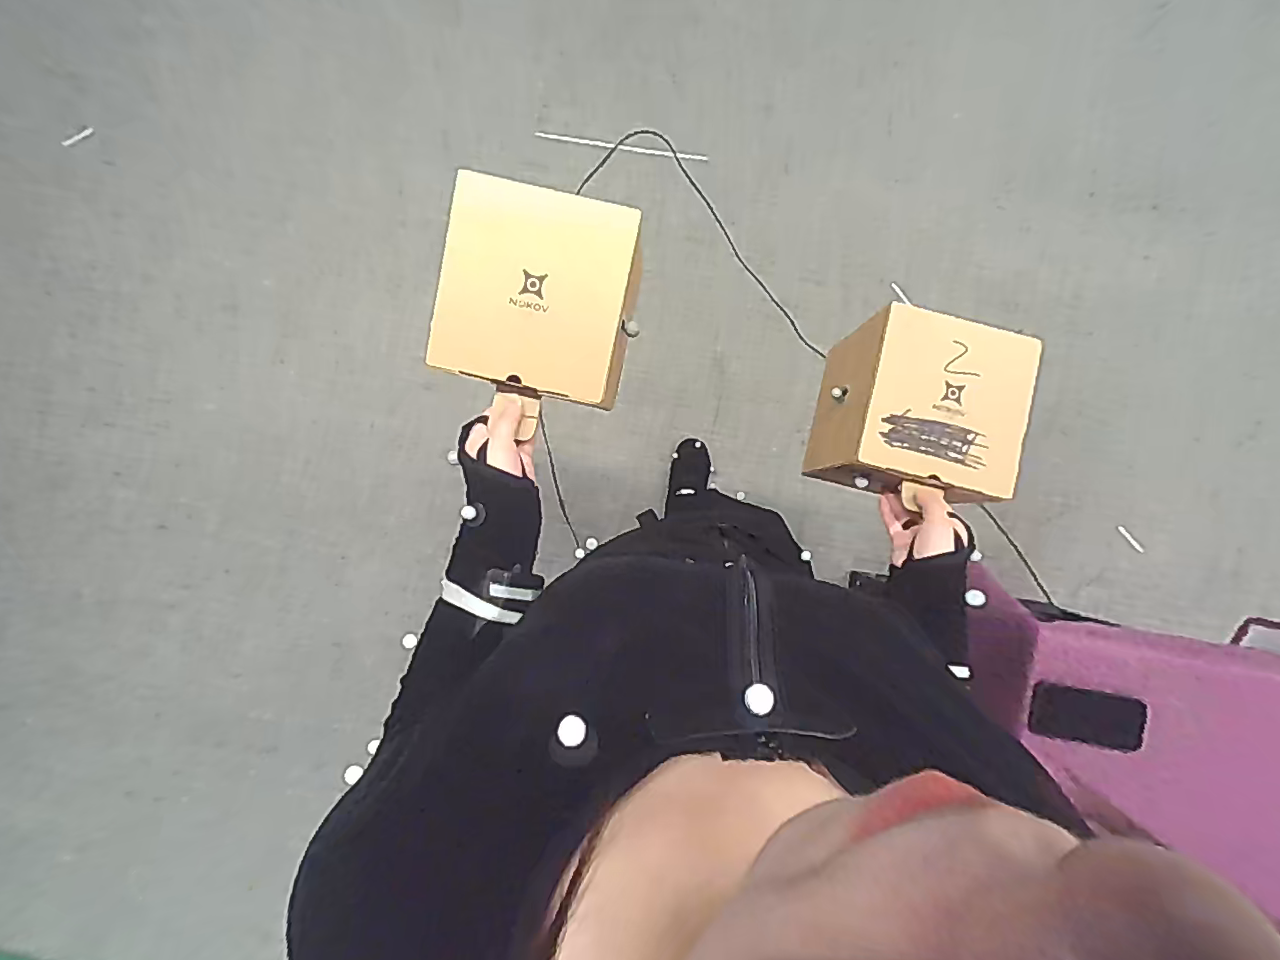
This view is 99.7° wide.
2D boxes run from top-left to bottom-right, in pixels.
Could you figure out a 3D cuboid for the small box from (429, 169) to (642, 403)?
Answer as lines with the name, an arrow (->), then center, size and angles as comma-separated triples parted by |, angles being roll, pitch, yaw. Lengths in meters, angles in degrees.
small box -> -0.097, -0.184, 0.567 | 0.168, 0.176, 0.179 | 12, 98, -1
